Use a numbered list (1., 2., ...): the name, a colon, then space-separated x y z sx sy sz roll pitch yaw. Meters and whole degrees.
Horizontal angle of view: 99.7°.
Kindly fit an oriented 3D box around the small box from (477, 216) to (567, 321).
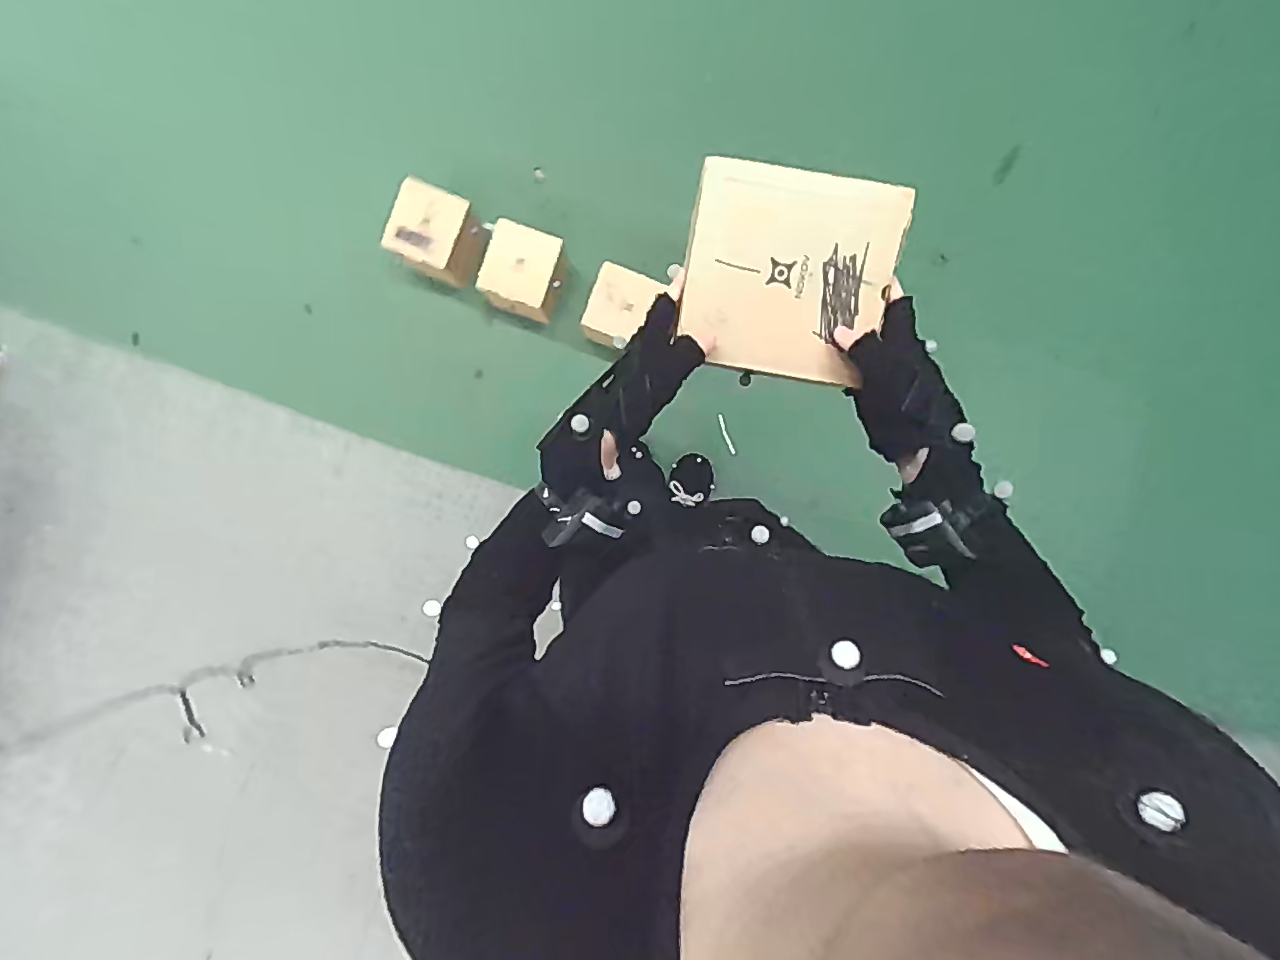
1. small box: -0.292 -0.533 1.386 0.168 0.176 0.179 20 93 -2

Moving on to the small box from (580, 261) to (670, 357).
1. small box: -0.037 -0.430 1.394 0.179 0.176 0.168 22 92 -2
